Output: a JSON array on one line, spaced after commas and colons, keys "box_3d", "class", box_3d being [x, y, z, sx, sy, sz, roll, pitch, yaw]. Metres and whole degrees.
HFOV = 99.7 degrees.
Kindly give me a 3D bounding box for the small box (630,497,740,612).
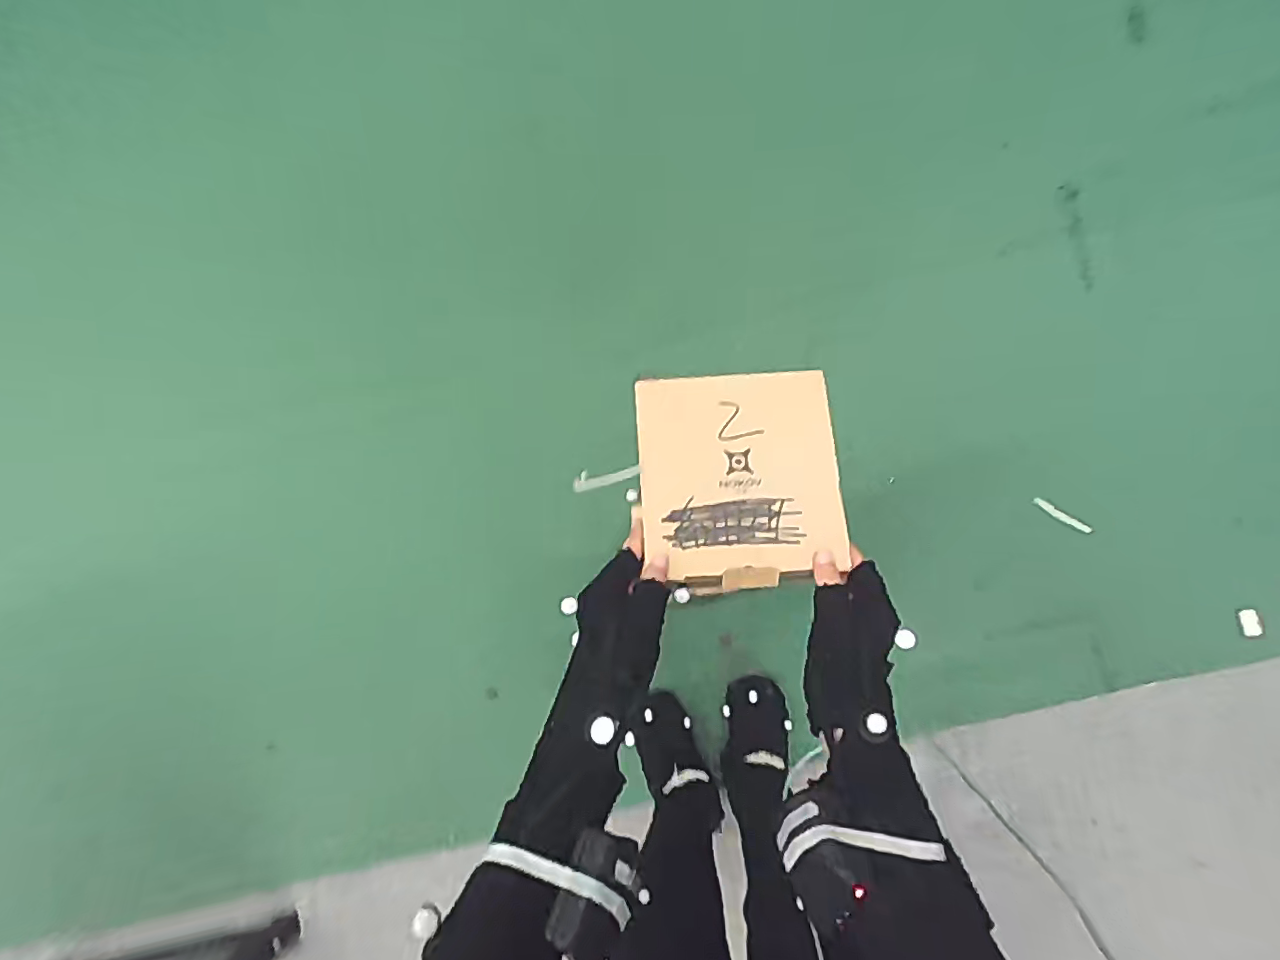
[{"box_3d": [0.086, 0.135, 1.031, 0.168, 0.176, 0.179, -14, 85, 3], "class": "small box"}]
